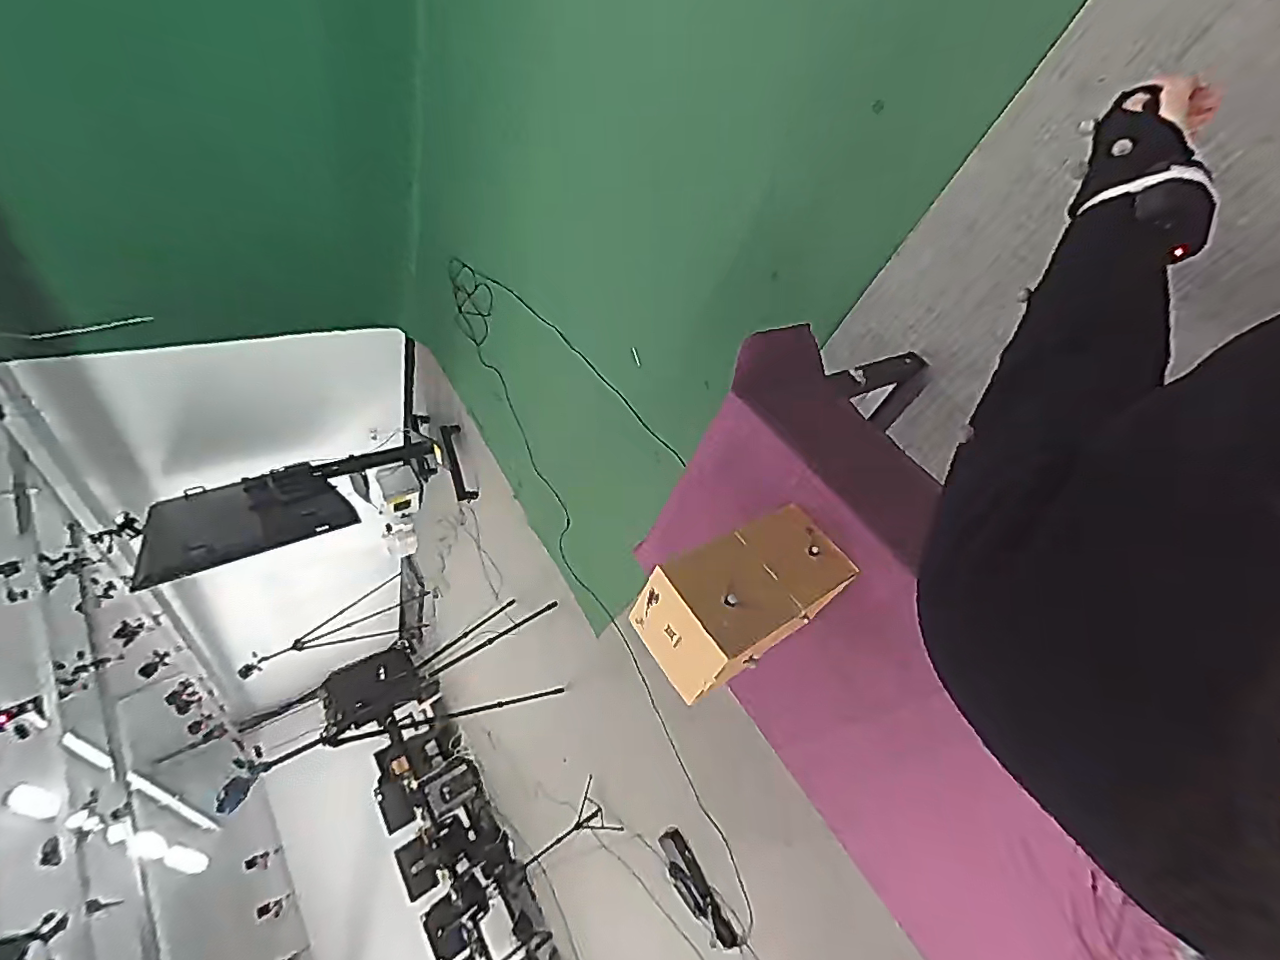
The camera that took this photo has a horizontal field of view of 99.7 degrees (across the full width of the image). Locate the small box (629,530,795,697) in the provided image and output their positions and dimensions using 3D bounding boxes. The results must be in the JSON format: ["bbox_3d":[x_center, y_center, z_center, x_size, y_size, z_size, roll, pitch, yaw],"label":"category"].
[{"bbox_3d":[0.116,0.209,0.877,0.179,0.176,0.168,50,139,25],"label":"small box"}]

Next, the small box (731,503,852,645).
[{"bbox_3d":[0.242,0.169,0.974,0.168,0.176,0.179,51,139,26],"label":"small box"}]
